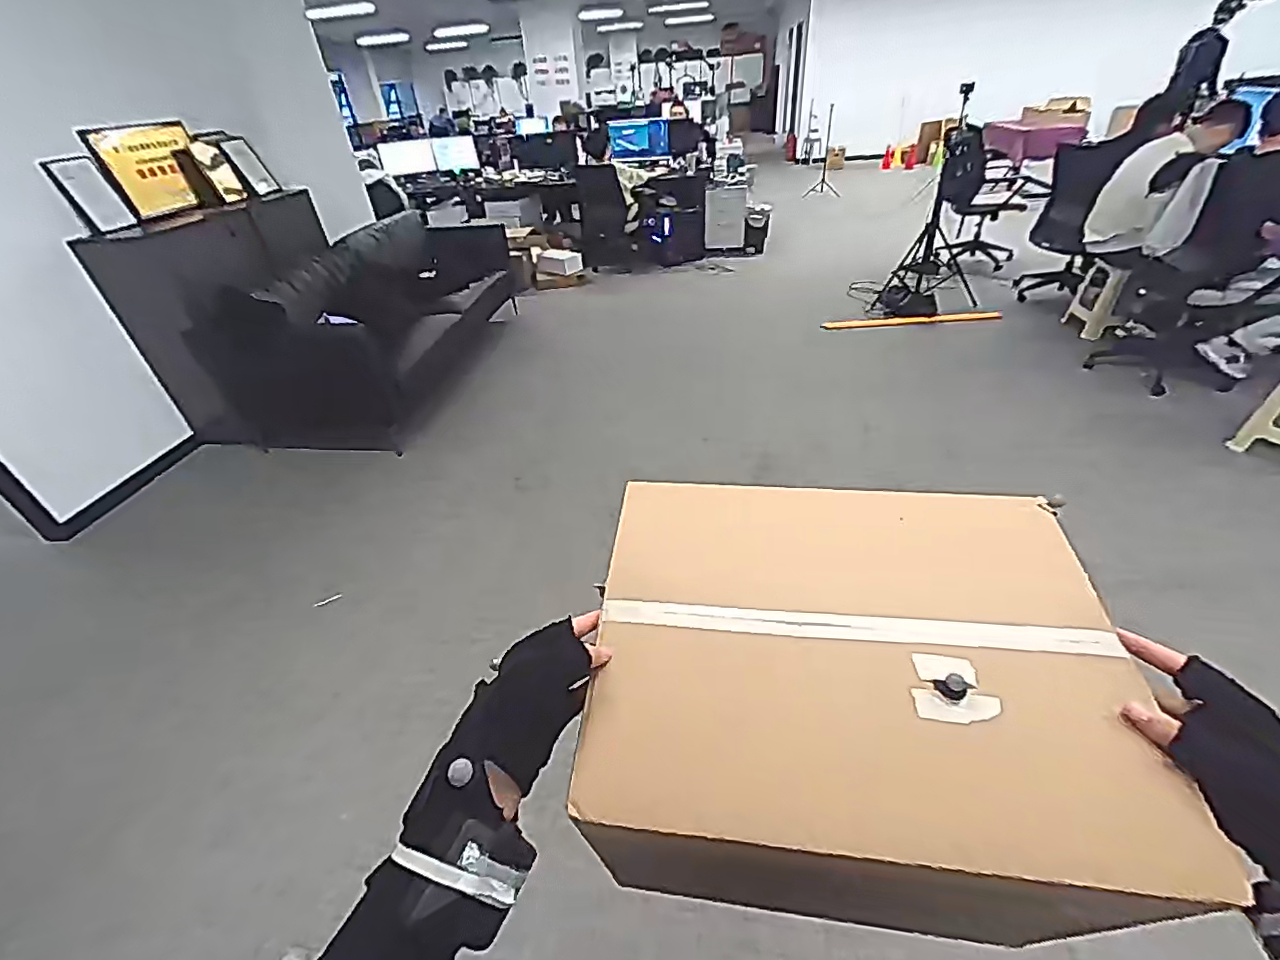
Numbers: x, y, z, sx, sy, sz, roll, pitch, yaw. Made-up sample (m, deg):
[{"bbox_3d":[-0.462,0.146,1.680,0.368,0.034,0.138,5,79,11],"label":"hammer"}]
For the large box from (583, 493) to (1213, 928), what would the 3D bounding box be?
[{"bbox_3d":[0.181,0.230,0.560,0.408,0.320,0.320,1,47,8],"label":"large box"}]
